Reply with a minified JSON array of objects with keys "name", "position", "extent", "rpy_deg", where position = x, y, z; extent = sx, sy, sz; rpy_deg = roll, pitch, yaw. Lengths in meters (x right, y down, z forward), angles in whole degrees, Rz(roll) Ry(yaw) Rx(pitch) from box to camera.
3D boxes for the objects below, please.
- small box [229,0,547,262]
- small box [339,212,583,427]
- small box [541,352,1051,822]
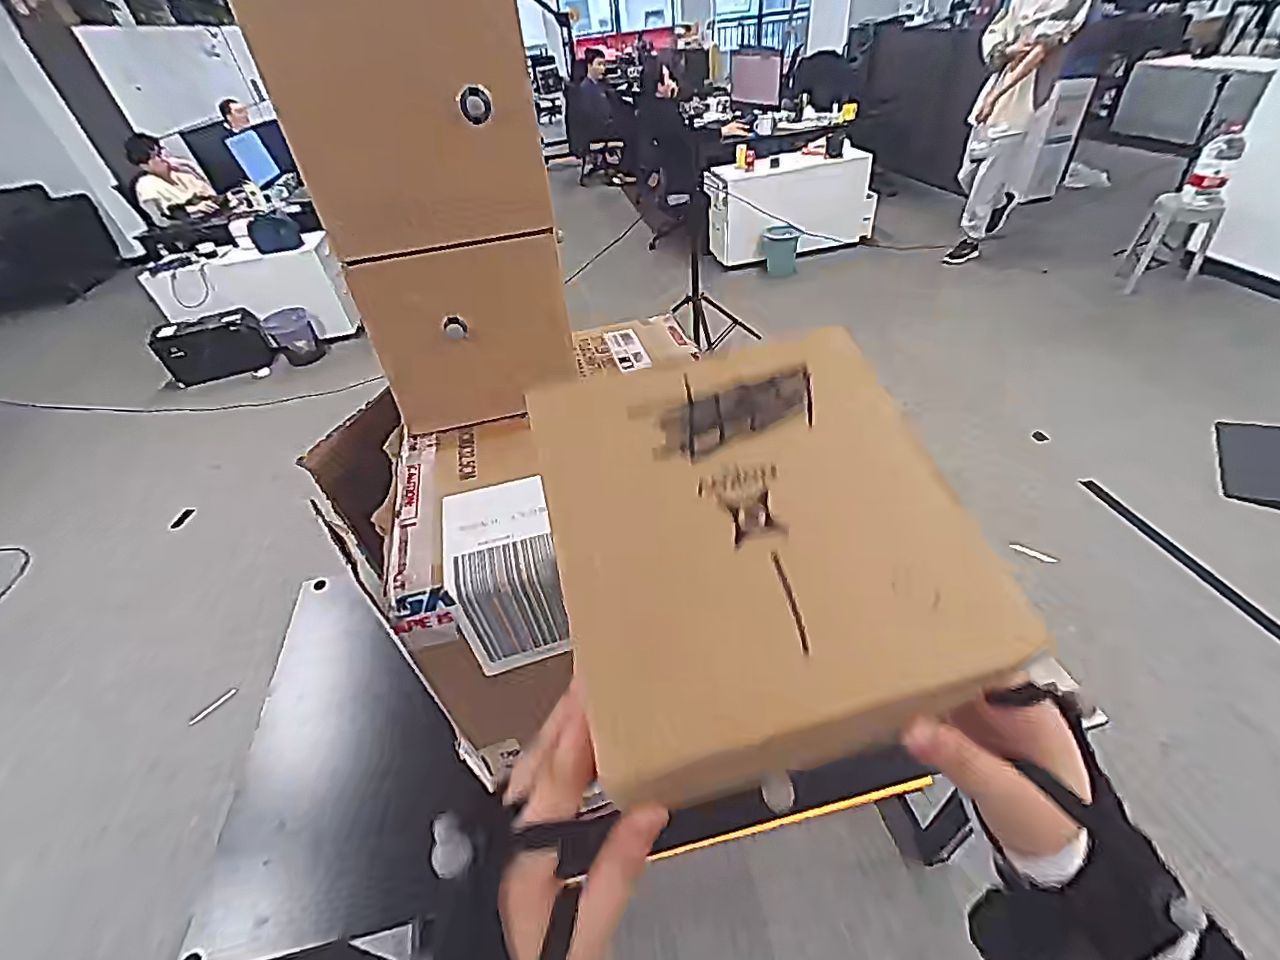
[{"name":"small box","position":[-0.181,-0.297,0.443],"extent":[0.179,0.176,0.168],"rpy_deg":[-16,39,-10]},{"name":"small box","position":[-0.168,-0.173,0.549],"extent":[0.179,0.176,0.168],"rpy_deg":[-14,40,-8]},{"name":"small box","position":[0.050,0.062,0.294],"extent":[0.168,0.176,0.179],"rpy_deg":[-13,56,-7]}]
